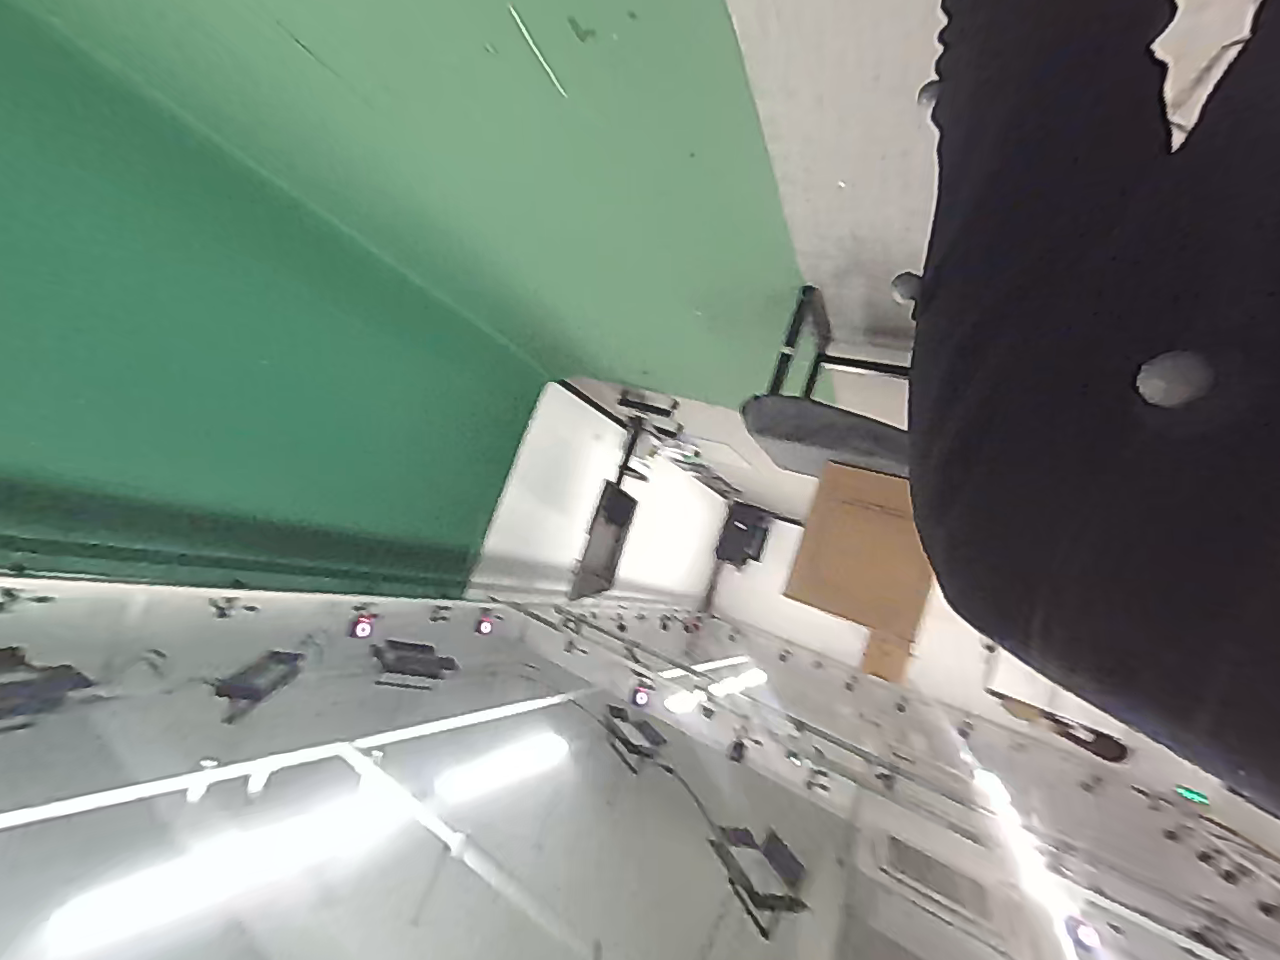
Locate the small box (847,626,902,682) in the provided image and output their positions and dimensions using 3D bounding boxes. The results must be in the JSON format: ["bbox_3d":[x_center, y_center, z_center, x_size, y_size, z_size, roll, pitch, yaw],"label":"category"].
[{"bbox_3d":[0.945,0.697,2.175,0.168,0.176,0.179,17,172,30],"label":"small box"}]
